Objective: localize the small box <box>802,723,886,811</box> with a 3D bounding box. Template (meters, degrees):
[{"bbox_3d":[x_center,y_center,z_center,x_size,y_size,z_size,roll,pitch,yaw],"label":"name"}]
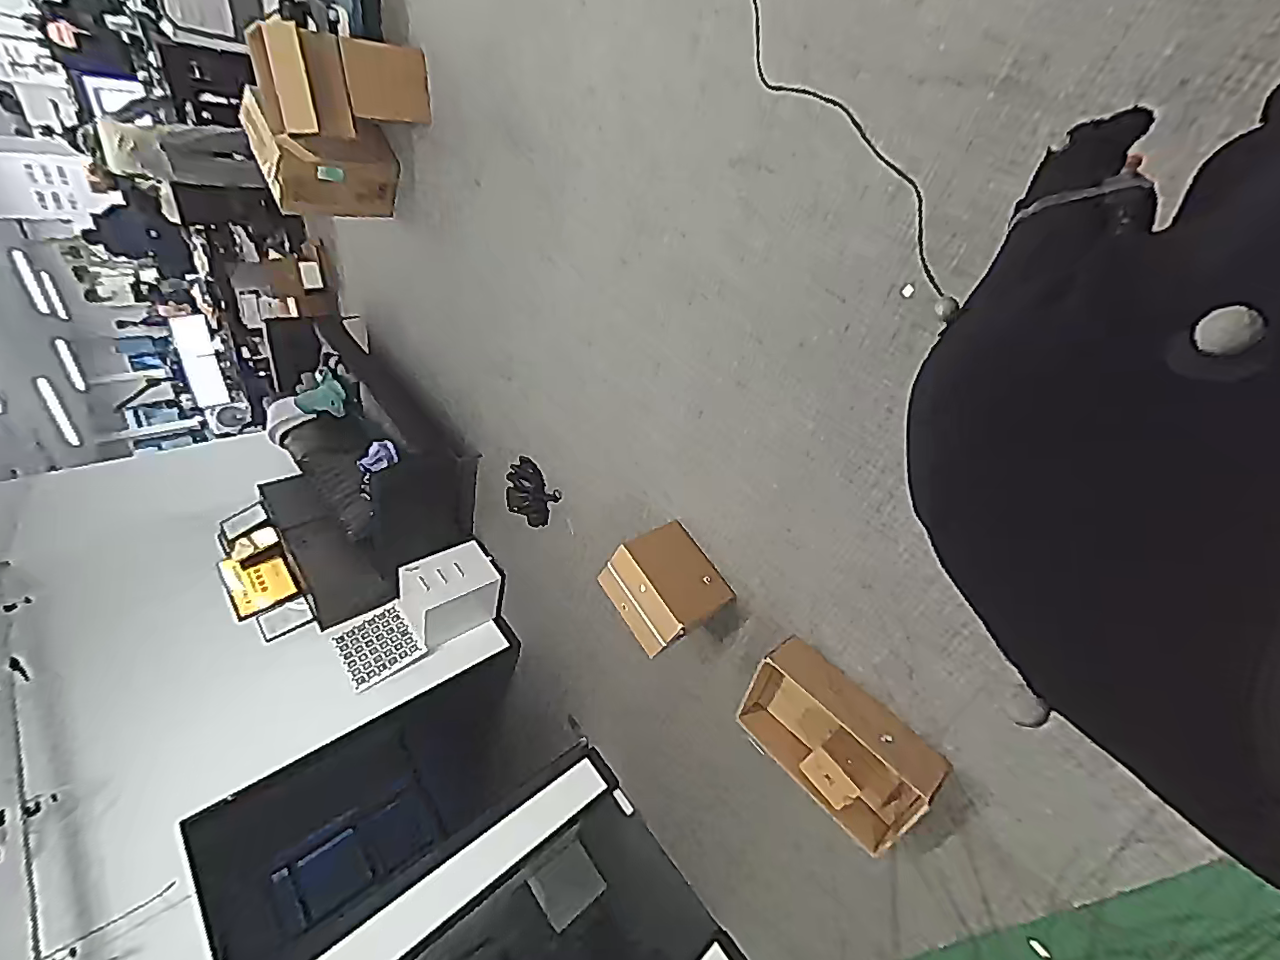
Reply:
[{"bbox_3d":[0.692,0.964,1.827,0.179,0.176,0.168,46,136,30],"label":"small box"}]
